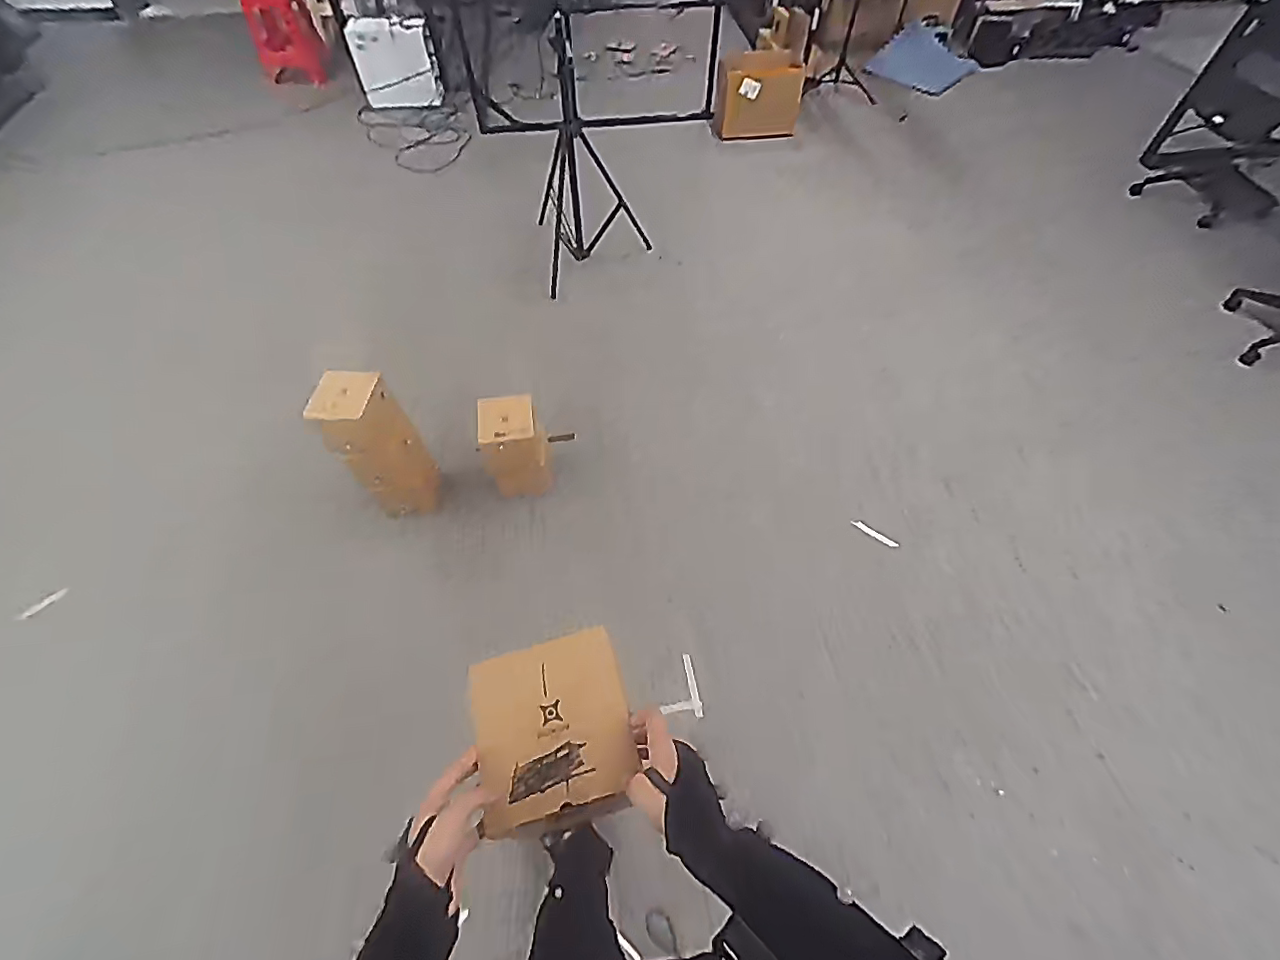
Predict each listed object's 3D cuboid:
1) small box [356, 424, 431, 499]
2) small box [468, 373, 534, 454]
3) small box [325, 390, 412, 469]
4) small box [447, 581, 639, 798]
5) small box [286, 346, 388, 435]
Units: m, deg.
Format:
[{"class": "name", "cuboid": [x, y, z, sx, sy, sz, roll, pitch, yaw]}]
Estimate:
[{"class": "small box", "cuboid": [-0.794, -0.059, 1.762, 0.168, 0.176, 0.179, -5, 56, -3]}, {"class": "small box", "cuboid": [-0.424, -0.202, 1.661, 0.168, 0.176, 0.179, -8, 56, -5]}, {"class": "small box", "cuboid": [-0.805, -0.151, 1.629, 0.168, 0.176, 0.179, -3, 57, -1]}, {"class": "small box", "cuboid": [-0.103, 0.244, 0.614, 0.168, 0.176, 0.179, -15, 56, -5]}, {"class": "small box", "cuboid": [-0.824, -0.247, 1.496, 0.168, 0.176, 0.179, 2, 57, 3]}]
